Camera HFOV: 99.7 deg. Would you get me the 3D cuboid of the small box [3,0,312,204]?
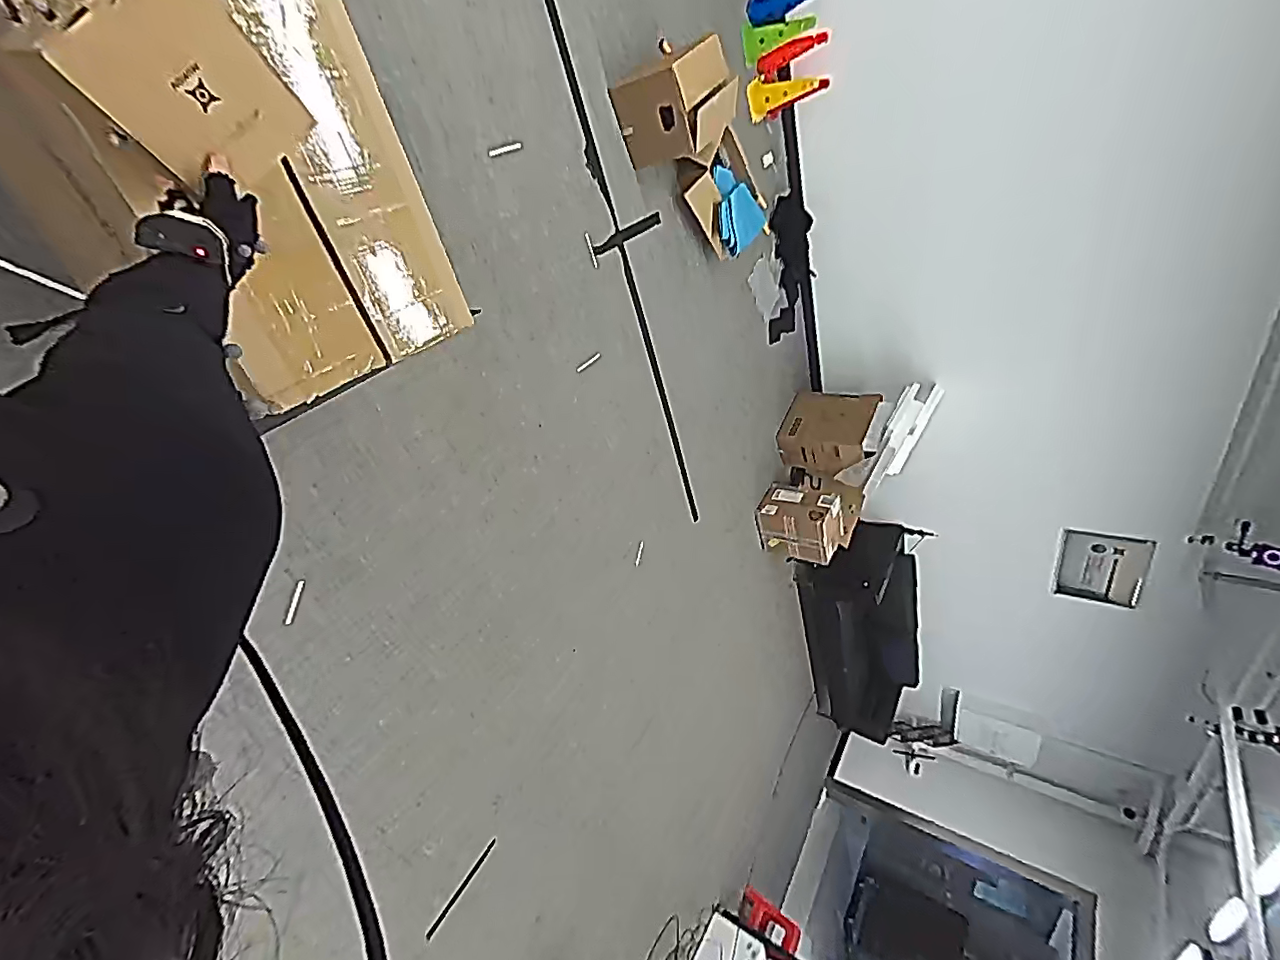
[{"bbox_3d":[-0.527,-0.444,0.600,0.168,0.176,0.179,-55,151,-13],"label":"small box"}]
